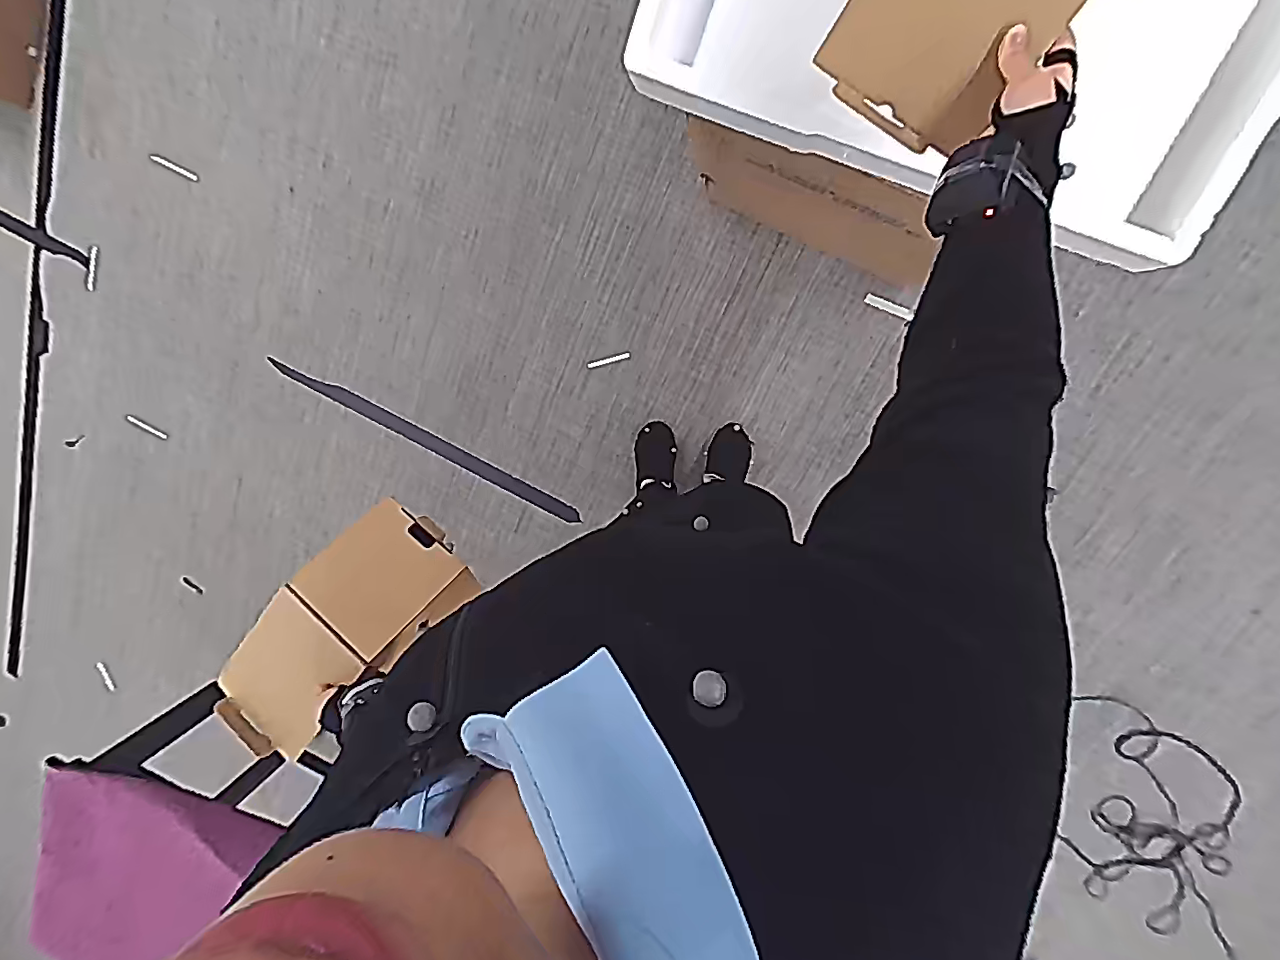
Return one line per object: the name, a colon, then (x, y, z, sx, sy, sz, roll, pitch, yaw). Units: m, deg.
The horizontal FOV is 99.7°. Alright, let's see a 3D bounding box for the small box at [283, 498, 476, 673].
small box: (-0.368, 0.165, 0.804, 0.168, 0.176, 0.179, 39, 67, 10)
